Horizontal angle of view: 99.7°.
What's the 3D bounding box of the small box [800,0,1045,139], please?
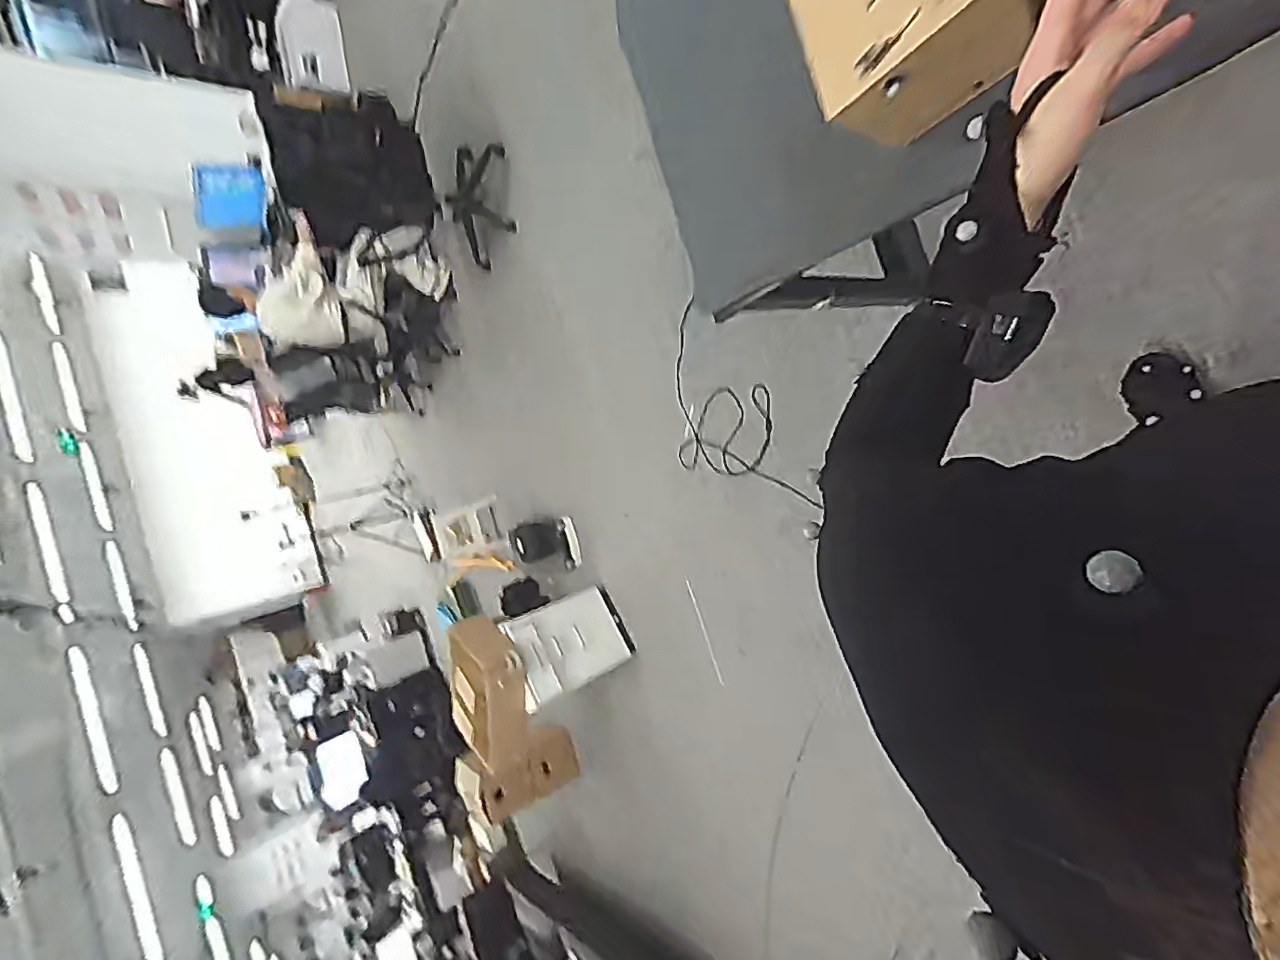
[{"bbox_3d":[0.299,-0.511,0.582,0.168,0.176,0.179,-16,87,53],"label":"small box"}]
